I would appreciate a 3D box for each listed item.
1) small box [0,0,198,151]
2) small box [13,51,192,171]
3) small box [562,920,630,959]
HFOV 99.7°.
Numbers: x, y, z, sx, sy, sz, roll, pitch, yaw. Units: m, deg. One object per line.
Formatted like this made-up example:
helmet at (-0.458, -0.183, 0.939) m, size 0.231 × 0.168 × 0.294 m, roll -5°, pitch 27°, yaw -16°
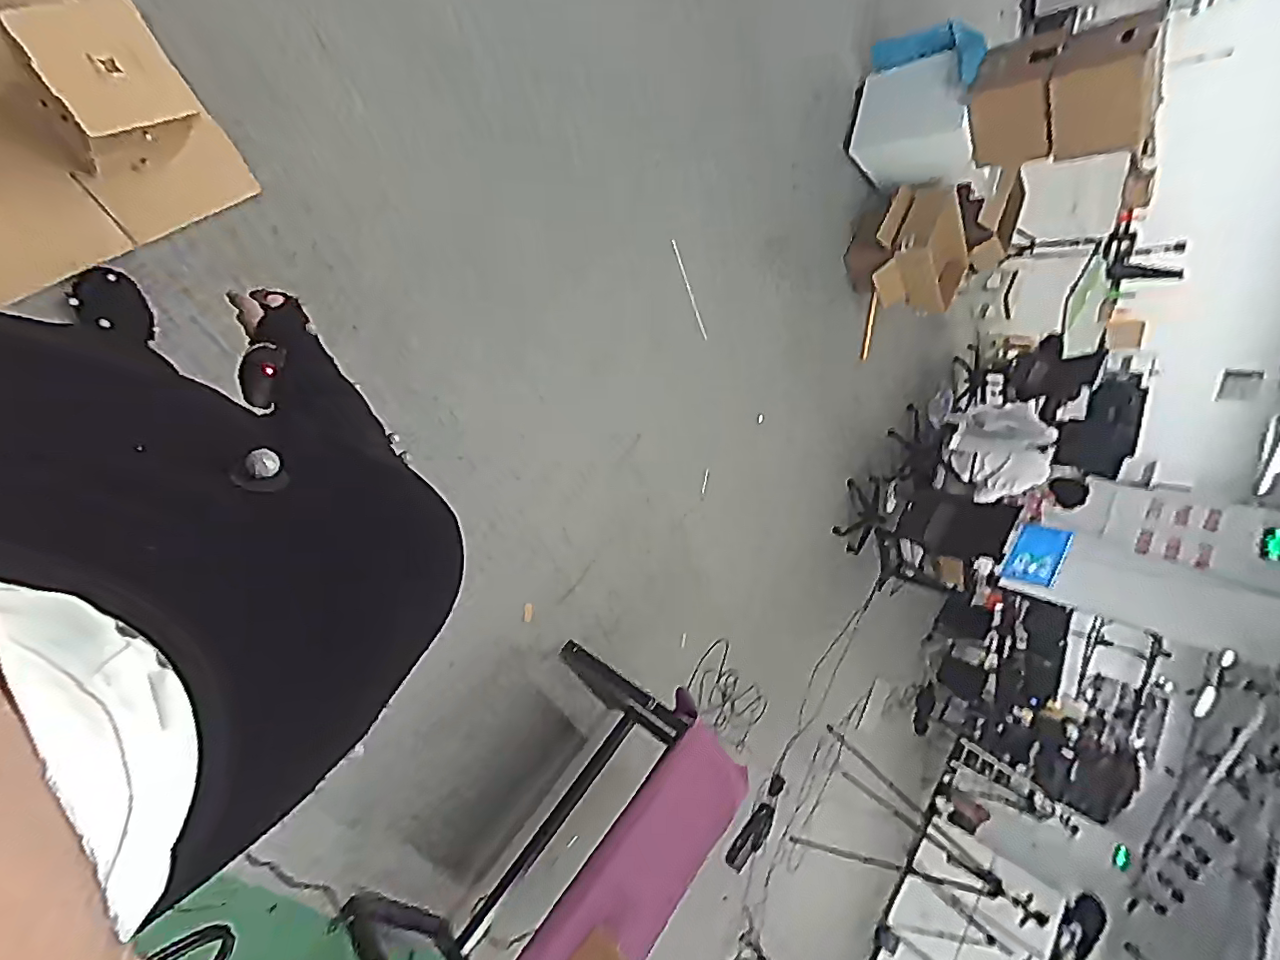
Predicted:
small box at (-0.904, -0.680, 0.915) m, size 0.179 × 0.176 × 0.168 m, roll -41°, pitch 129°, yaw -29°
small box at (-1.016, -0.715, 1.030) m, size 0.179 × 0.176 × 0.168 m, roll -43°, pitch 129°, yaw -27°
small box at (-0.124, 1.476, 1.613) m, size 0.179 × 0.176 × 0.168 m, roll -40°, pitch 128°, yaw -29°
